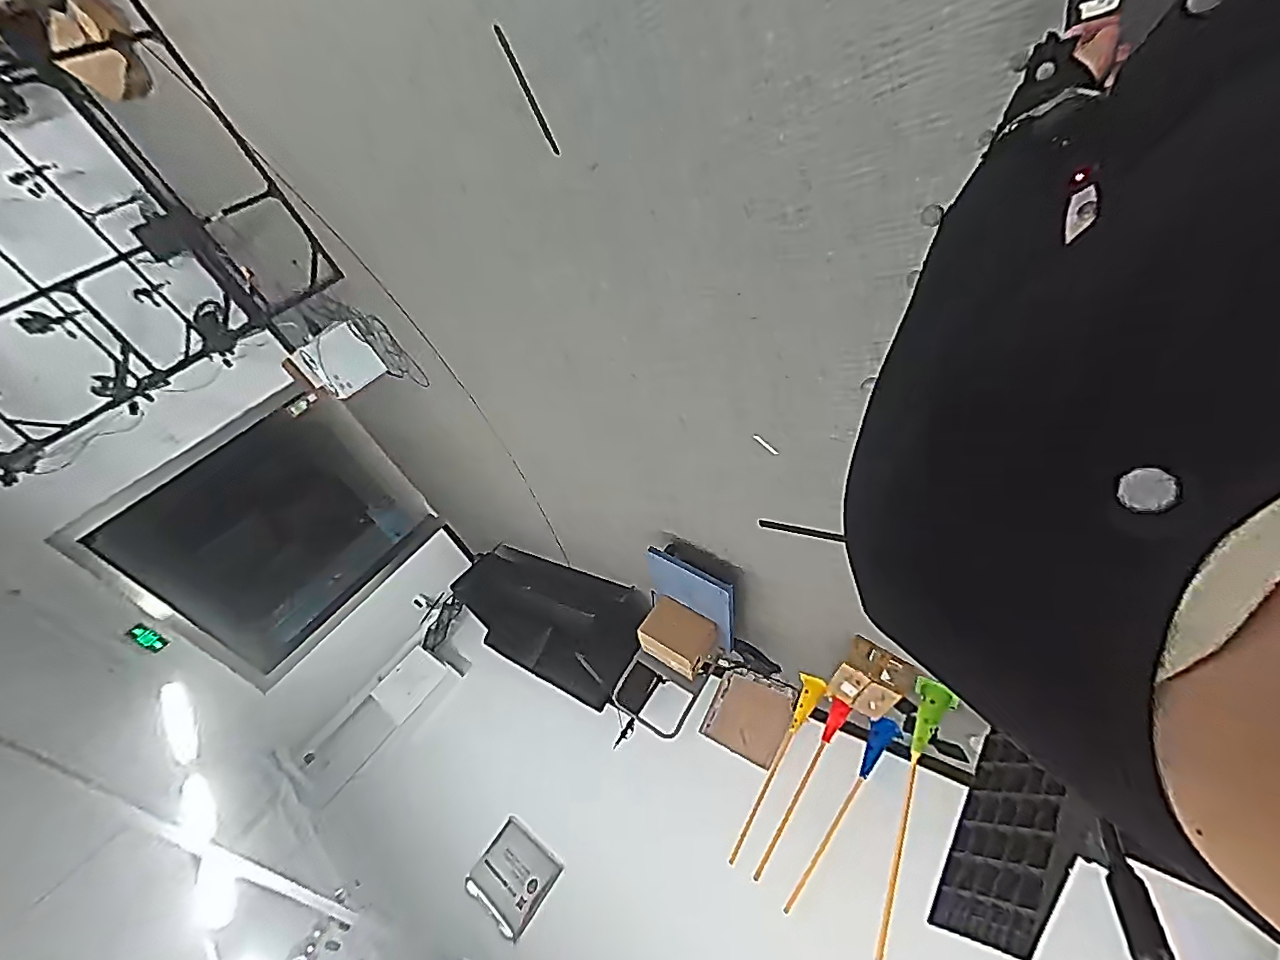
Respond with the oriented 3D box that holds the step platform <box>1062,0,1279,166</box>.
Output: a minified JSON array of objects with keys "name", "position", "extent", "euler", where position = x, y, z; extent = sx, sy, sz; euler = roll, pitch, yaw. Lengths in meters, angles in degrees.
[{"name":"step platform","position":[1.022,-0.674,0.755],"extent":[0.684,0.204,0.286],"euler":[14,139,42]}]
